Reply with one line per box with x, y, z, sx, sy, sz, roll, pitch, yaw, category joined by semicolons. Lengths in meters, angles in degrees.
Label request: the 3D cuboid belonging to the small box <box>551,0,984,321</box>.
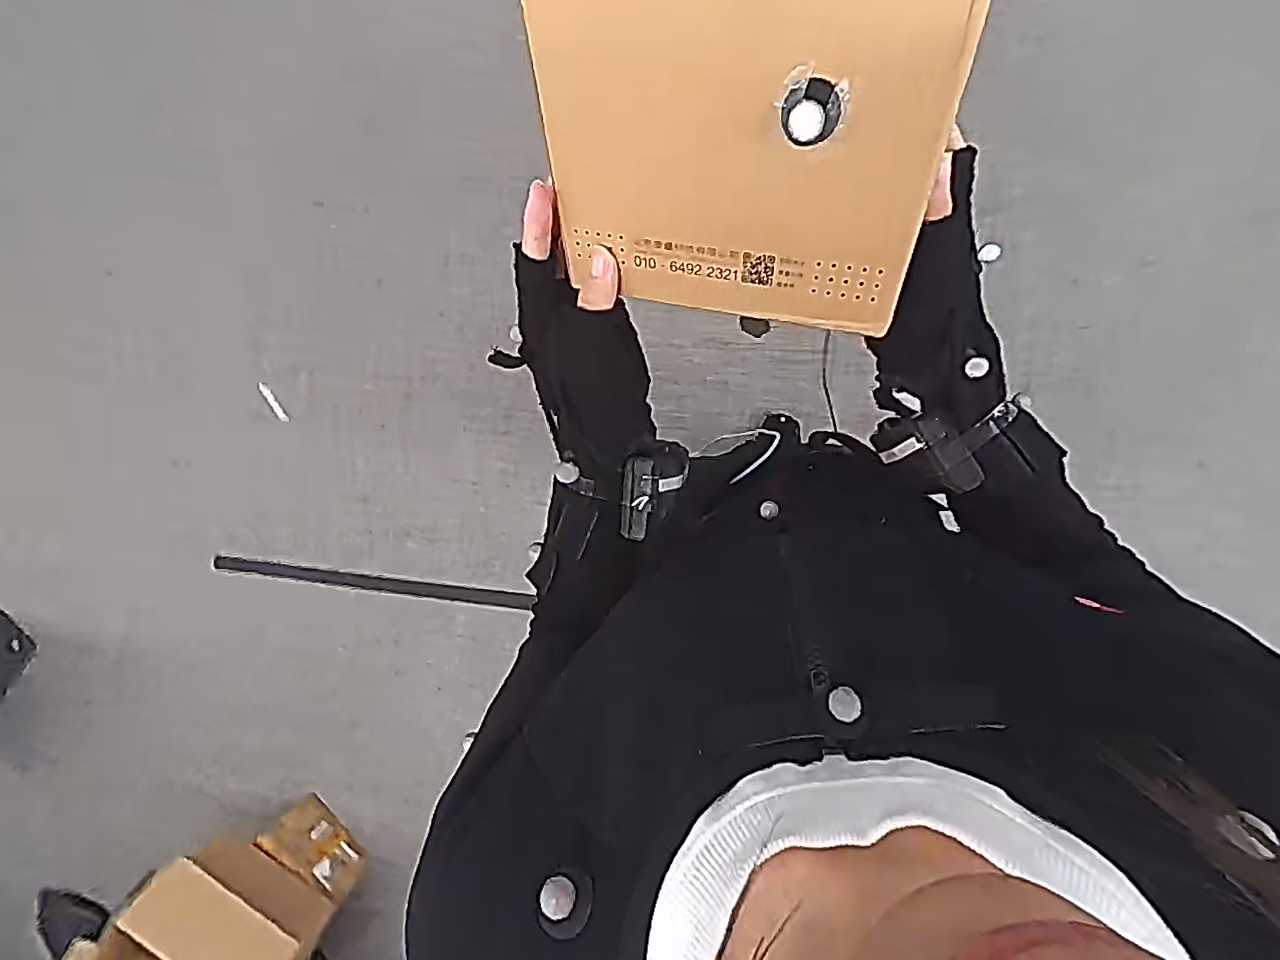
0.074;-0.206;0.281;0.168;0.179;0.176;17;142;18;small box
